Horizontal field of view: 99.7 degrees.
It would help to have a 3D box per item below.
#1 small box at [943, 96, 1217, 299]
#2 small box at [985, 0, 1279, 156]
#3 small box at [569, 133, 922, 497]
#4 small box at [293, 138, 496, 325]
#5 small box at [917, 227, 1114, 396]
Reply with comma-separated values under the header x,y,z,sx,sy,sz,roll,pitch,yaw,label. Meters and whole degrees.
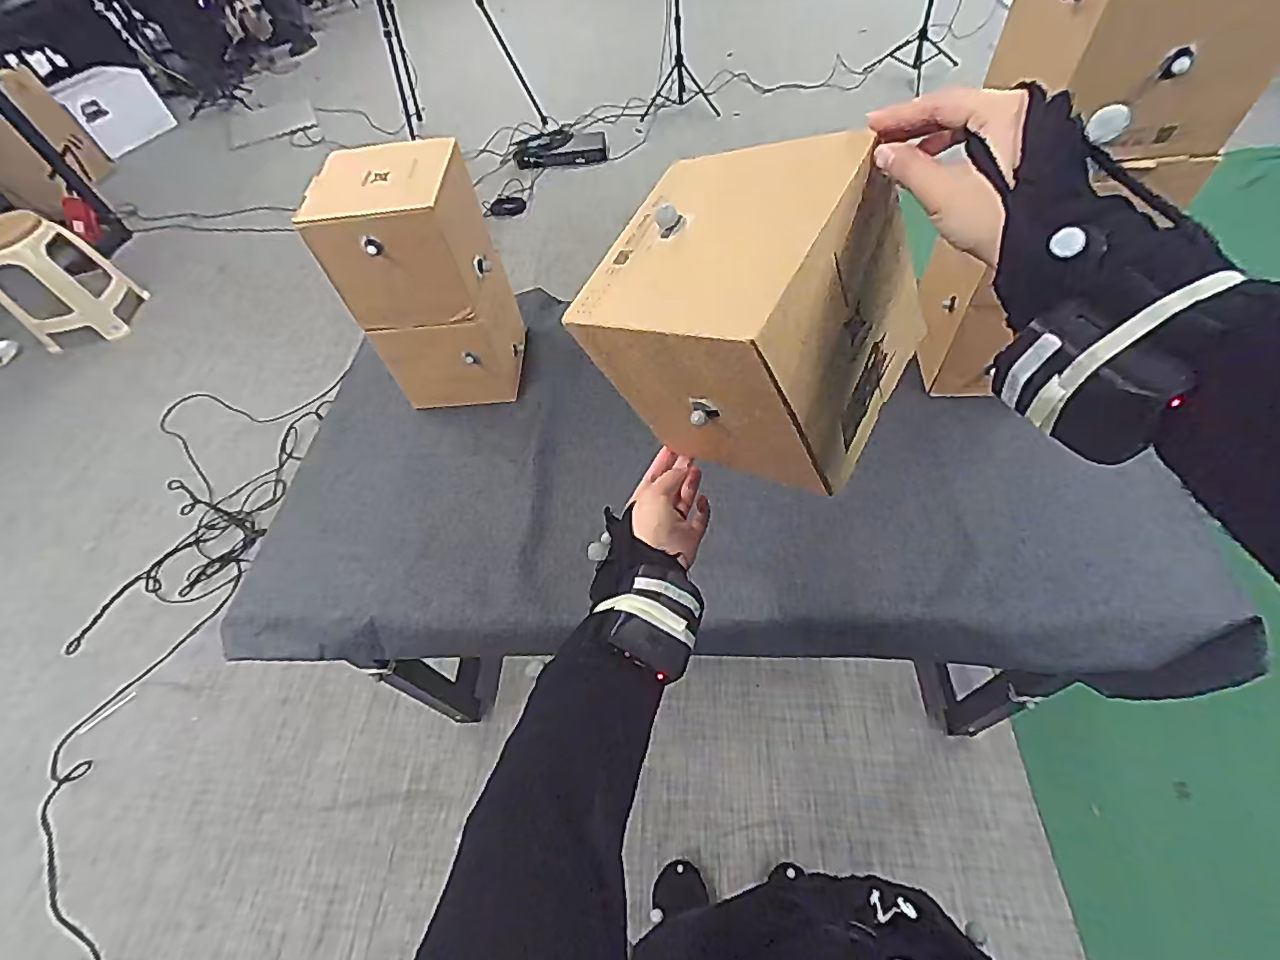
x,y,z,sx,sy,sz,roll,pitch,yaw,label
0.481,-0.328,0.630,0.168,0.176,0.179,1,57,8,small box
0.455,-0.420,0.495,0.168,0.176,0.179,0,56,7,small box
0.083,-0.117,0.410,0.176,0.179,0.168,20,72,43,small box
-0.314,-0.328,0.734,0.179,0.176,0.168,-4,57,3,small box
0.502,-0.241,0.767,0.168,0.176,0.179,1,57,8,small box
